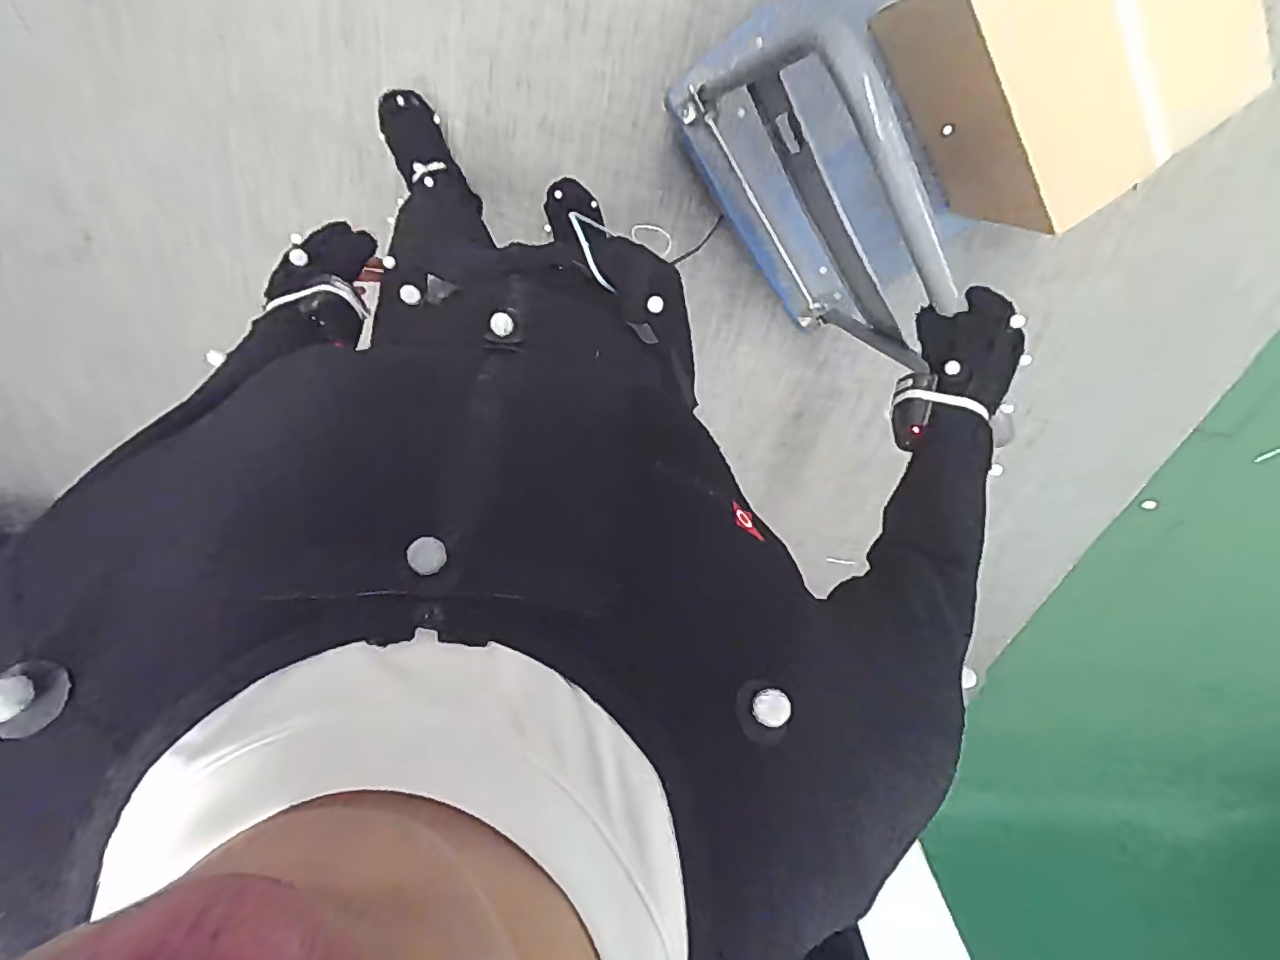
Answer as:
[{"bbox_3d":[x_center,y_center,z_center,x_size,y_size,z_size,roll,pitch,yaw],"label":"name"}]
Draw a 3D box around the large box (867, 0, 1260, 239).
[{"bbox_3d":[0.642,-0.670,0.865,0.320,0.320,0.408,-36,117,17],"label":"large box"}]
